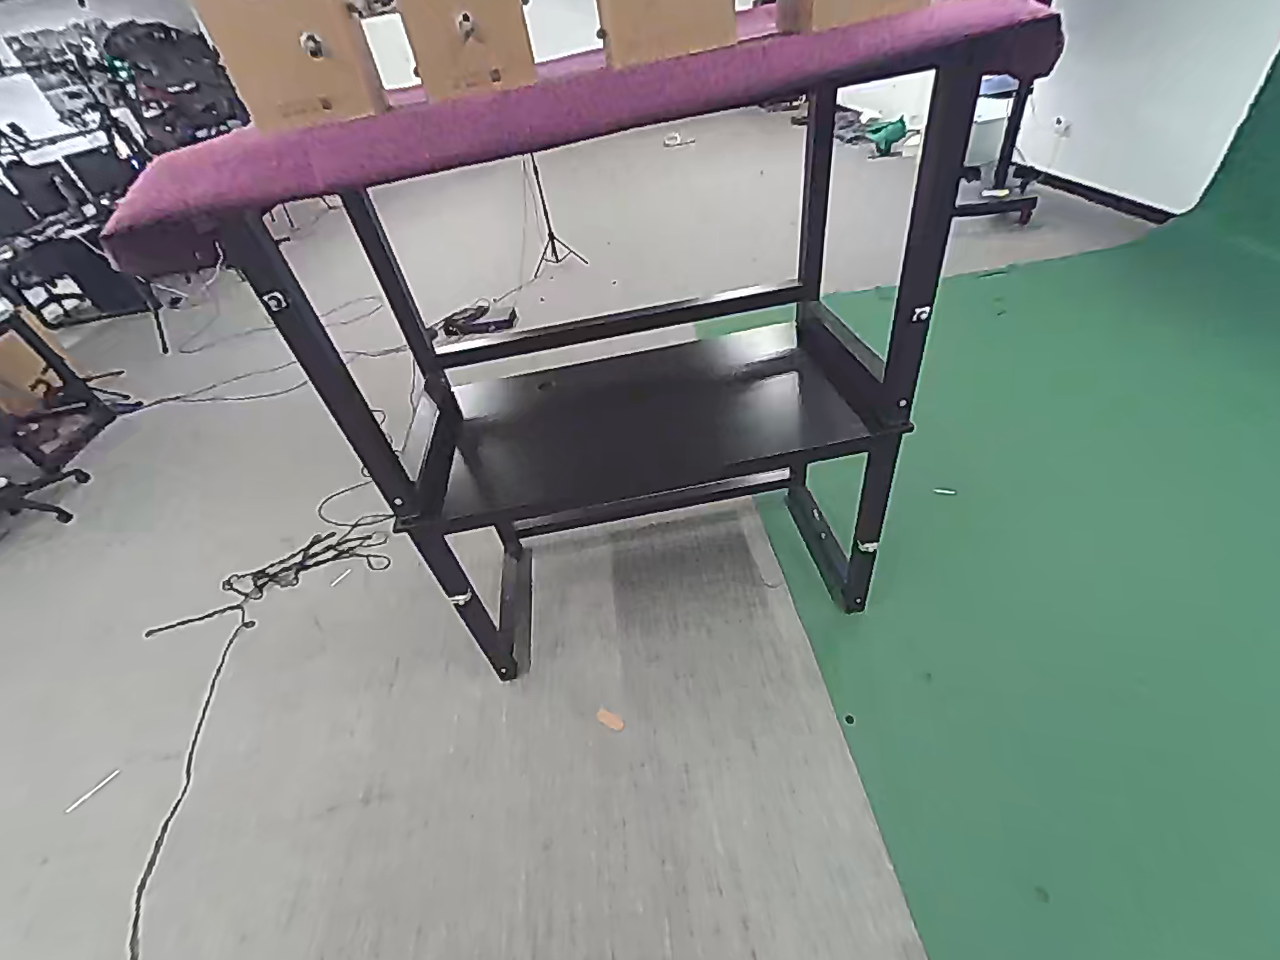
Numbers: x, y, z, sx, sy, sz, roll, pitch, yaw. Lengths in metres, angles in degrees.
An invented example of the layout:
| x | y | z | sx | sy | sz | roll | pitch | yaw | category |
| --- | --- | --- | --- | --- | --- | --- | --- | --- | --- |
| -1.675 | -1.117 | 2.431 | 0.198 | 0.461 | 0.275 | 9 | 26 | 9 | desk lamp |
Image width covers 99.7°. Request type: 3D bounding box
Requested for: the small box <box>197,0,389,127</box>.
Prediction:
| x | y | z | sx | sy | sz | roll | pitch | yaw | category |
| --- | --- | --- | --- | --- | --- | --- | --- | --- | --- |
| -0.484 | -0.625 | 0.782 | 0.168 | 0.176 | 0.179 | -13 | 40 | -5 | small box |

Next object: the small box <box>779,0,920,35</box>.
| x | y | z | sx | sy | sz | roll | pitch | yaw | category |
| --- | --- | --- | --- | --- | --- | --- | --- | --- | --- |
| 0.307 | -0.765 | 0.773 | 0.179 | 0.176 | 0.168 | -12 | 41 | 1 | small box |

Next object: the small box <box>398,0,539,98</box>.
| x | y | z | sx | sy | sz | roll | pitch | yaw | category |
| --- | --- | --- | --- | --- | --- | --- | --- | --- | --- |
| -0.249 | -0.677 | 0.793 | 0.168 | 0.176 | 0.179 | -13 | 41 | -4 | small box |
